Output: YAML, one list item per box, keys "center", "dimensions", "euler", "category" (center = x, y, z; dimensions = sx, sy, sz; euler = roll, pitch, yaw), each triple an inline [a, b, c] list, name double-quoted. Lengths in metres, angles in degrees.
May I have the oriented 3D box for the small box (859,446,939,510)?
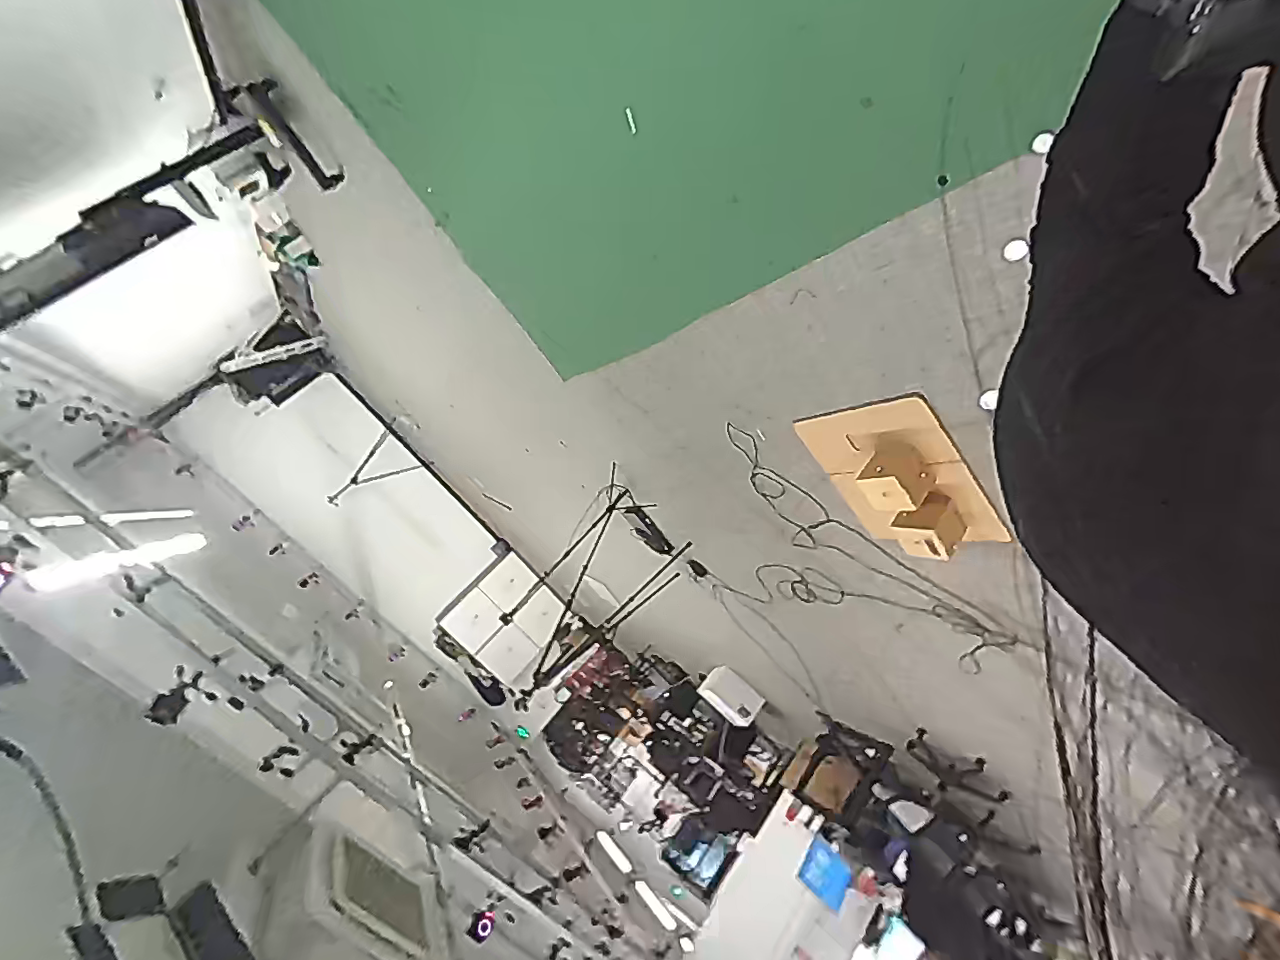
- center: [0.962, -0.006, 2.005]
  dimensions: [0.168, 0.176, 0.179]
  euler: [49, 156, -14]
  category: "small box"
